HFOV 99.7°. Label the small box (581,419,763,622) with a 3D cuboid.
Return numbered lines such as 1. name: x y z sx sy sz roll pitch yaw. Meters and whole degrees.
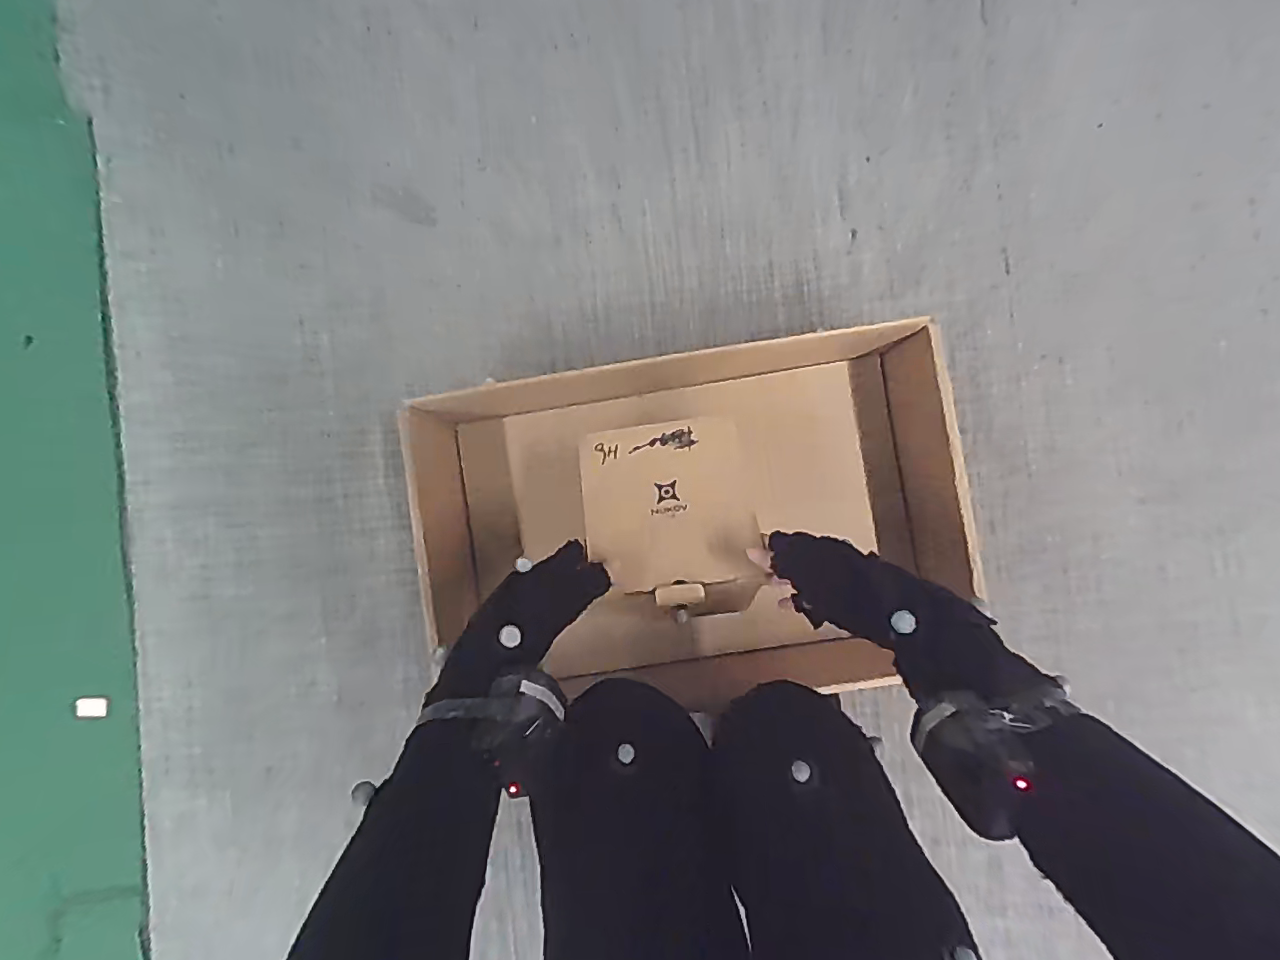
1. small box: 0.034 0.056 0.603 0.168 0.176 0.179 -8 66 2
